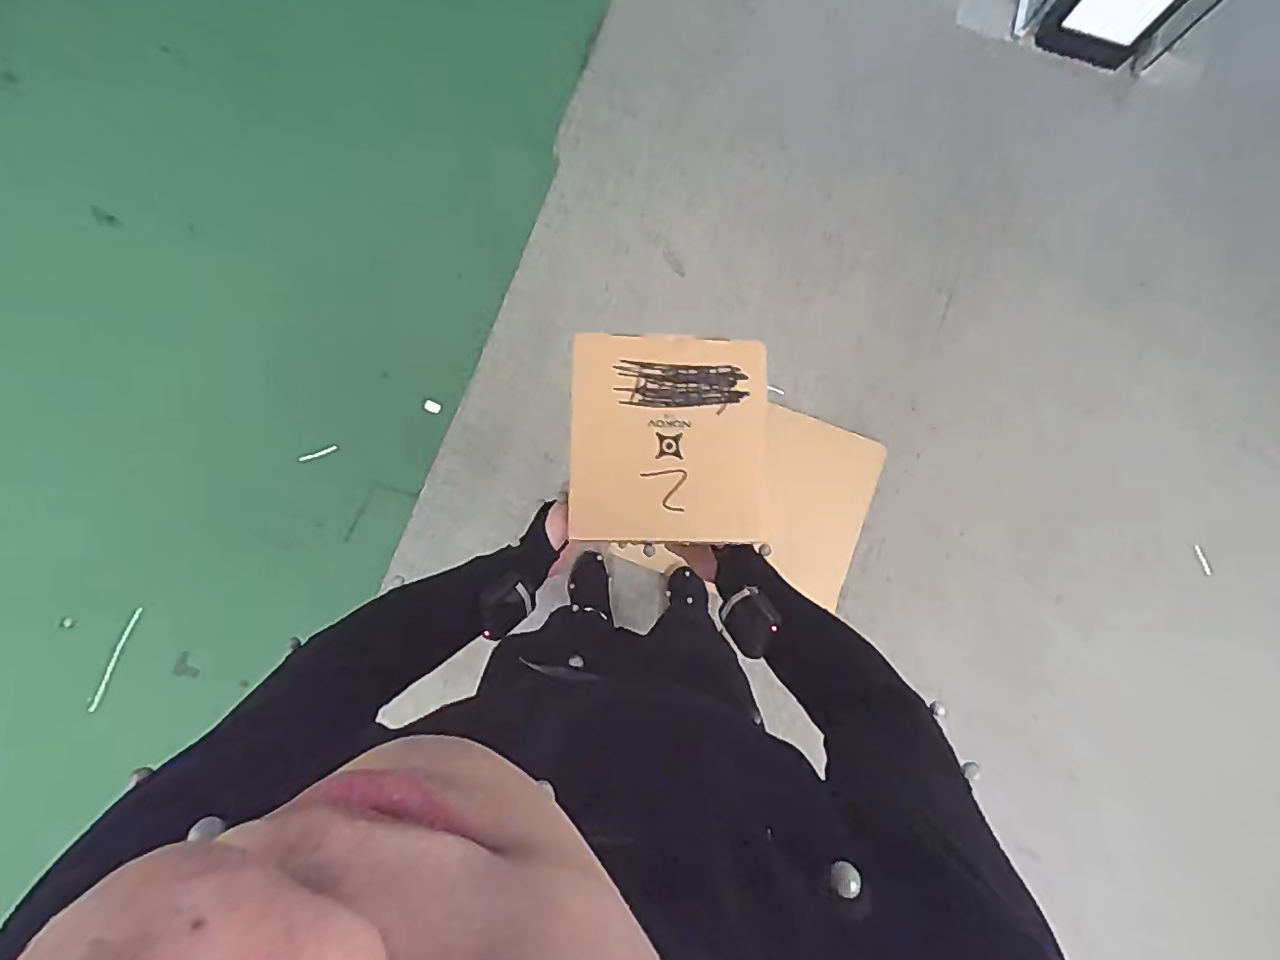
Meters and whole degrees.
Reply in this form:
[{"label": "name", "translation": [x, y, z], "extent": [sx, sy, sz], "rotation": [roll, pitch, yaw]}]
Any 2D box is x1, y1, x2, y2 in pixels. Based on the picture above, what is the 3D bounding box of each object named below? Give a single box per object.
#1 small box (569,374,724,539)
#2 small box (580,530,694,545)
[{"label": "small box", "translation": [0.004, -0.018, 0.682], "extent": [0.168, 0.176, 0.179], "rotation": [4, 82, -5]}, {"label": "small box", "translation": [-0.006, 0.008, 0.845], "extent": [0.168, 0.176, 0.179], "rotation": [3, 82, -3]}]
